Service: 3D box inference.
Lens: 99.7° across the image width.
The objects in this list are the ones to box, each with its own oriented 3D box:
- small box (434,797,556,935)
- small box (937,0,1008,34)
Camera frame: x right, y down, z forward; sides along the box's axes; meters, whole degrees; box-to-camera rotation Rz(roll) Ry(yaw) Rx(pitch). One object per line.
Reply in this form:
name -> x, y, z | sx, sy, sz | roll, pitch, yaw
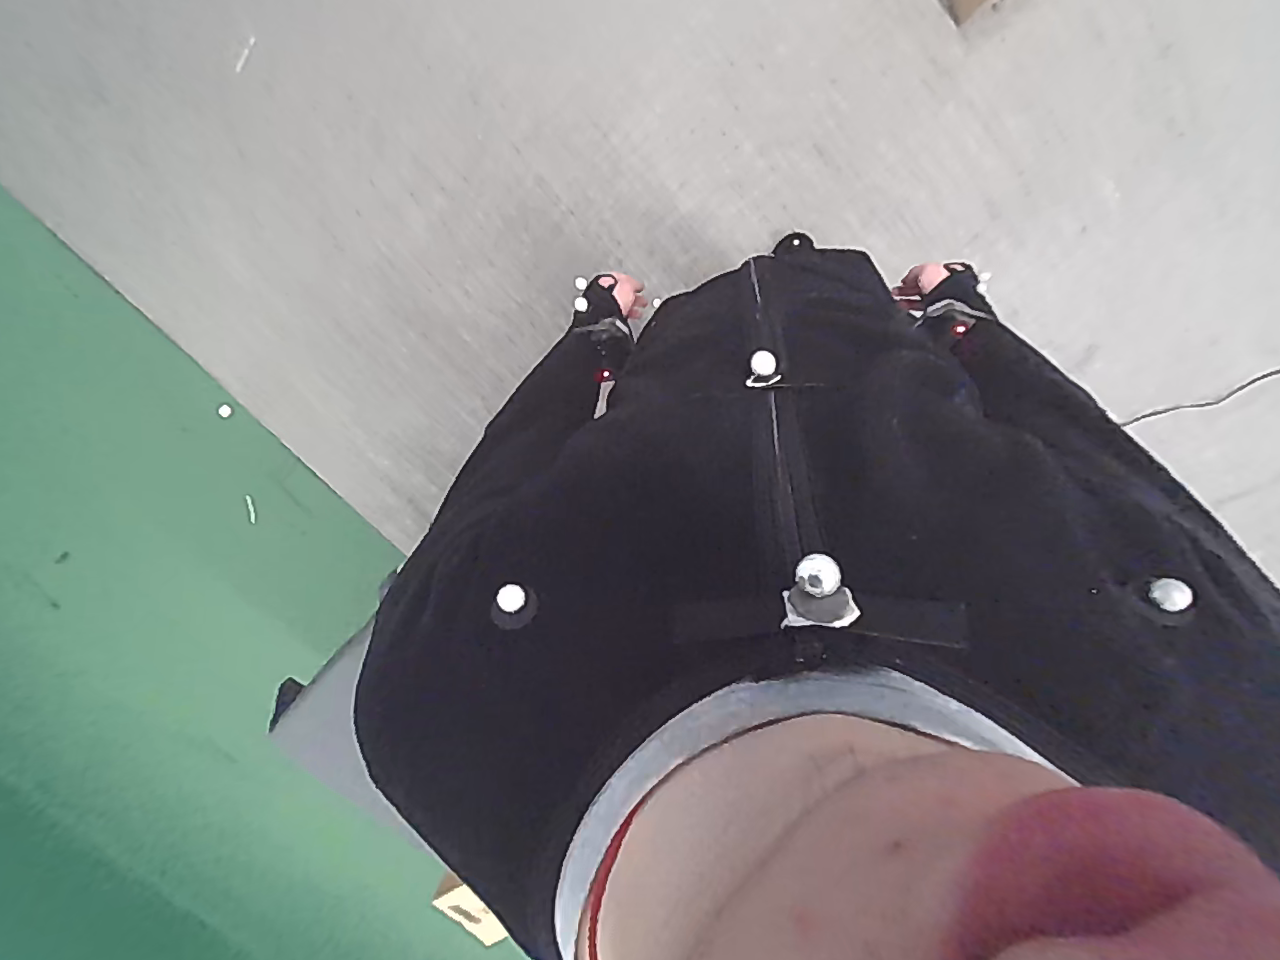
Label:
small box -> -0.315, 0.860, 1.214 | 0.168, 0.176, 0.179 | 44, 112, -10
small box -> 0.669, -1.010, 1.027 | 0.168, 0.176, 0.179 | -27, 107, 21
